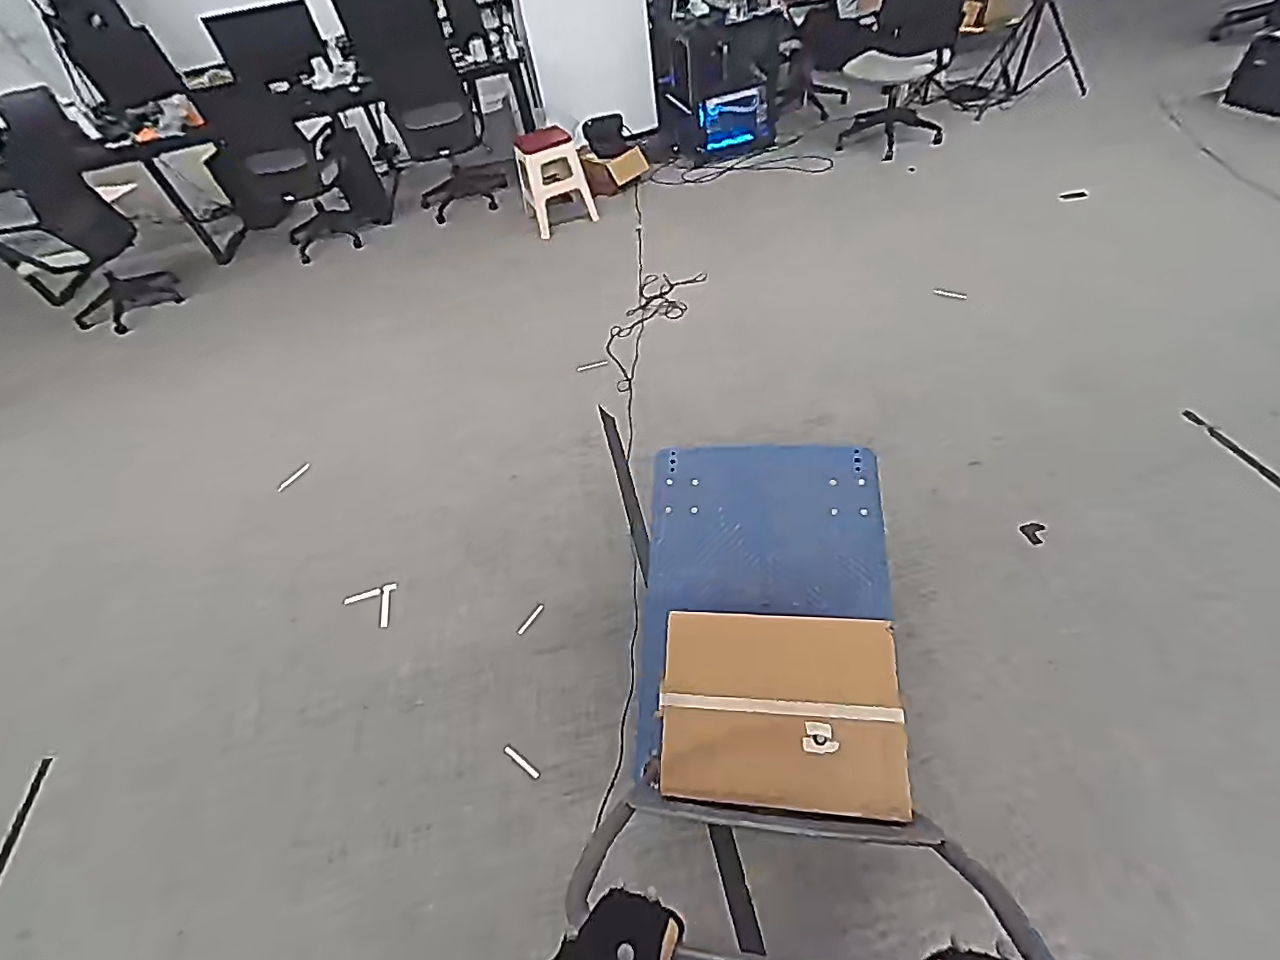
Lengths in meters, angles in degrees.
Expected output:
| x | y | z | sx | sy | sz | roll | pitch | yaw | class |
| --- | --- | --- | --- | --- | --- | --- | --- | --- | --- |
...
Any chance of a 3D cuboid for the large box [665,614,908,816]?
| x | y | z | sx | sy | sz | roll | pitch | yaw | class |
| --- | --- | --- | --- | --- | --- | --- | --- | --- | --- |
| 0.269 | 0.460 | 1.093 | 0.408 | 0.320 | 0.320 | 0 | 68 | 10 | large box |
